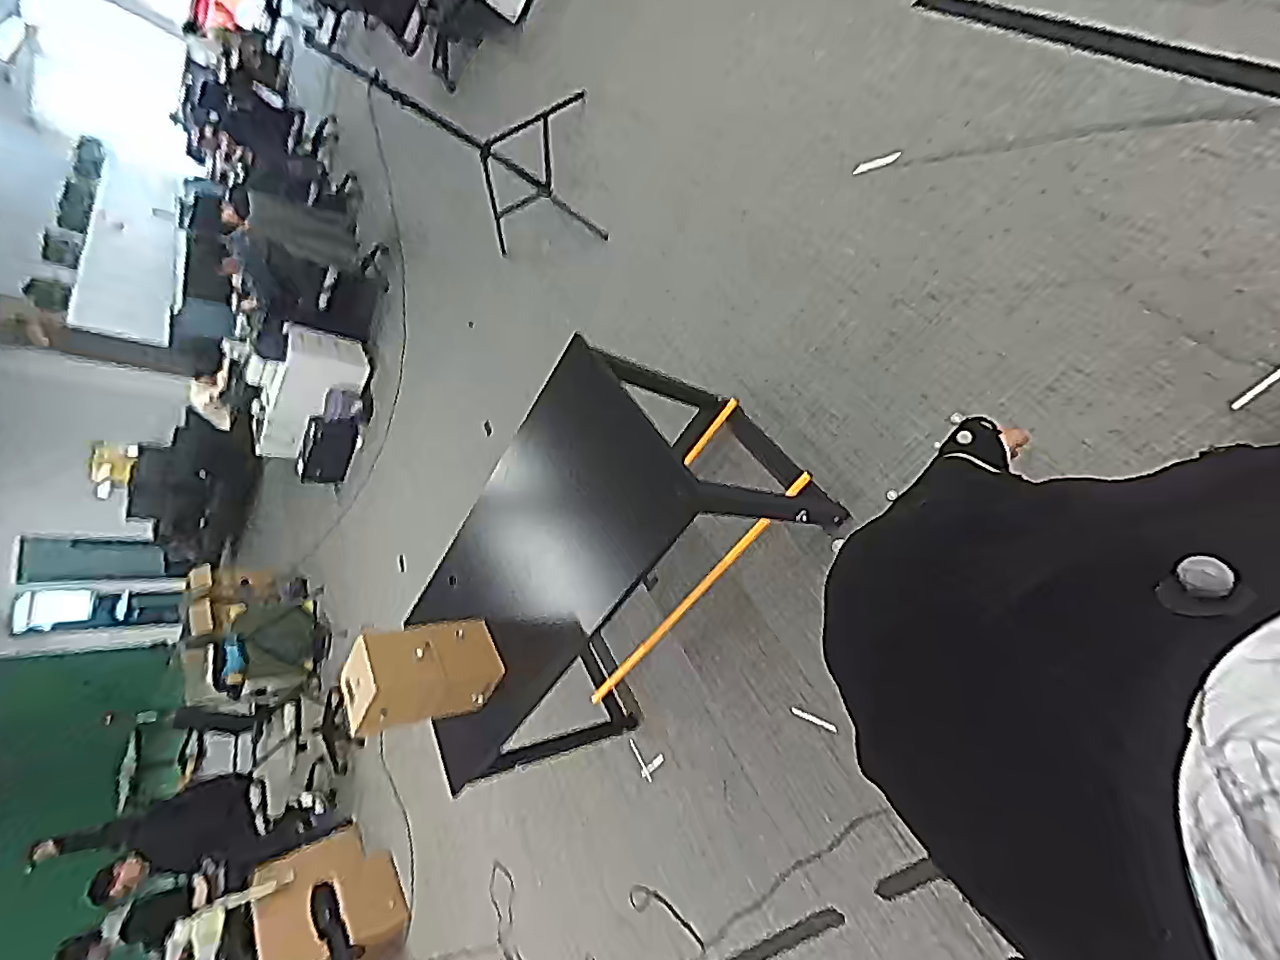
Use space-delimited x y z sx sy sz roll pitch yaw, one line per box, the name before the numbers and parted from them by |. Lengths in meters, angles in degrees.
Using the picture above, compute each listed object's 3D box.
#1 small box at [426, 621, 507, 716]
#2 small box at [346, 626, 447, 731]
small box | -0.485 0.495 1.450 0.179 0.176 0.168 51 119 35
small box | -0.599 0.482 1.332 0.168 0.176 0.179 51 118 36
